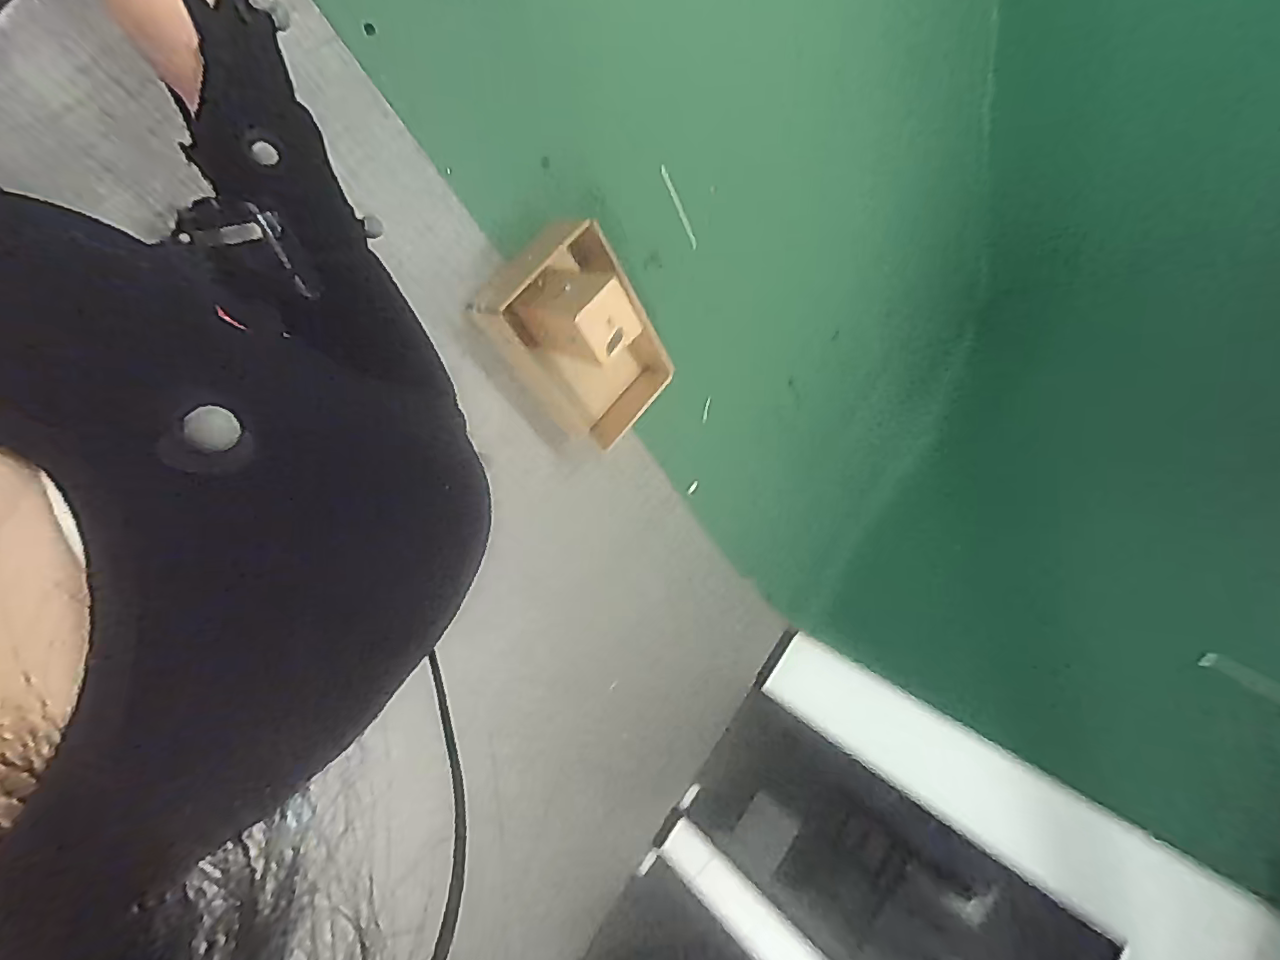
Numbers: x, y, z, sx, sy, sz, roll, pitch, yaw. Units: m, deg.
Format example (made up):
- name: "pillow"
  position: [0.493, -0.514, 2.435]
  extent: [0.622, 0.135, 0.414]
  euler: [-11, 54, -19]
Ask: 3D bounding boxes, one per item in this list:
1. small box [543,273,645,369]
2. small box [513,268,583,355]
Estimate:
- name: "small box"
  position: [-0.124, -0.432, 1.453]
  extent: [0.168, 0.176, 0.179]
  euler: [-50, 137, -14]
- name: "small box"
  position: [-0.232, -0.491, 1.562]
  extent: [0.168, 0.176, 0.179]
  euler: [-51, 138, -13]
